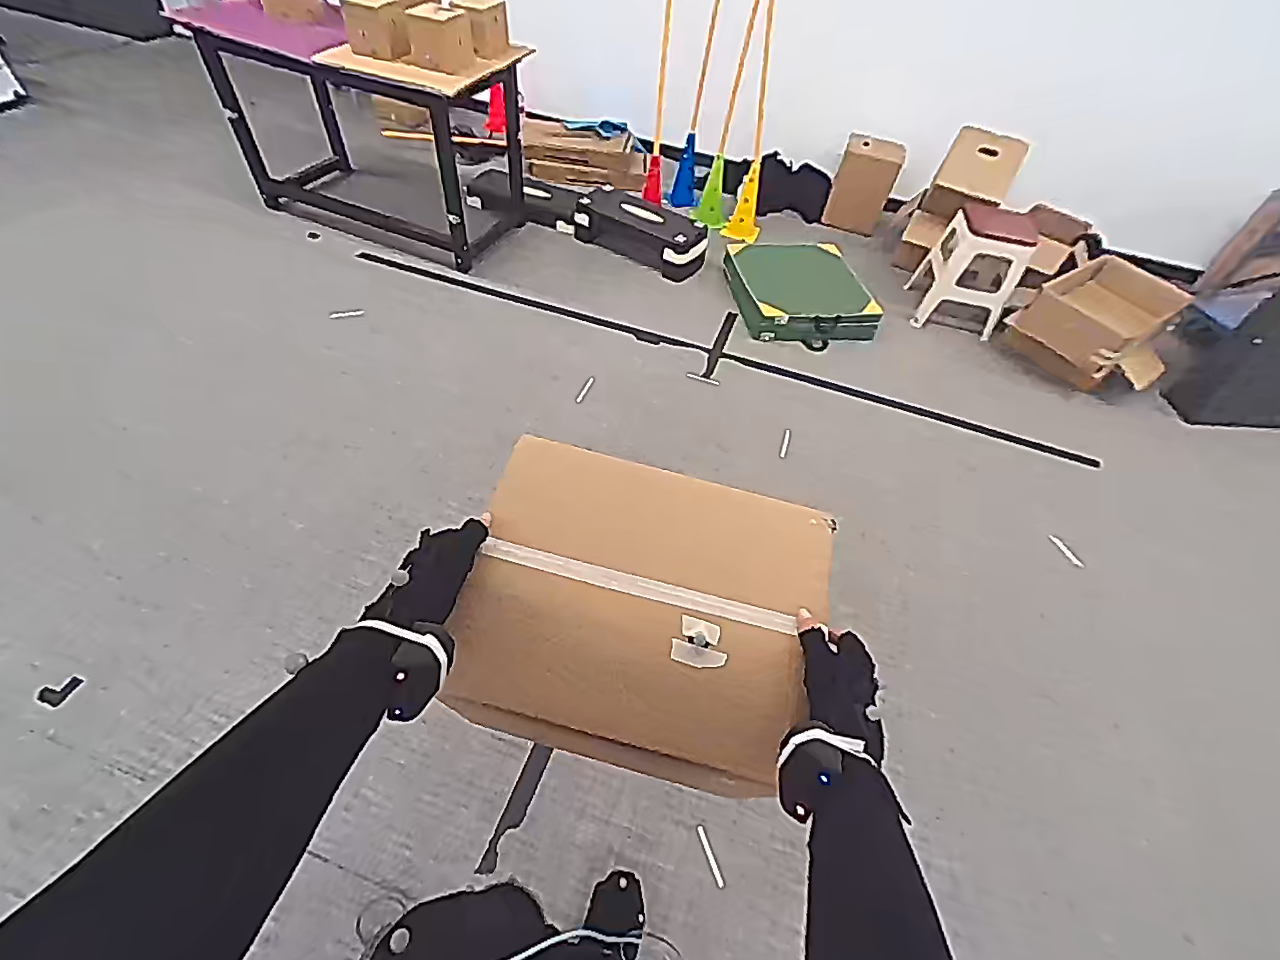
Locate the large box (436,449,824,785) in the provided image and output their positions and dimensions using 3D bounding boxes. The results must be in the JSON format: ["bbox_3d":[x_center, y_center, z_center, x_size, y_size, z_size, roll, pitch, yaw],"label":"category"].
[{"bbox_3d":[-0.005,0.204,0.750,0.408,0.320,0.320,14,60,1],"label":"large box"}]
